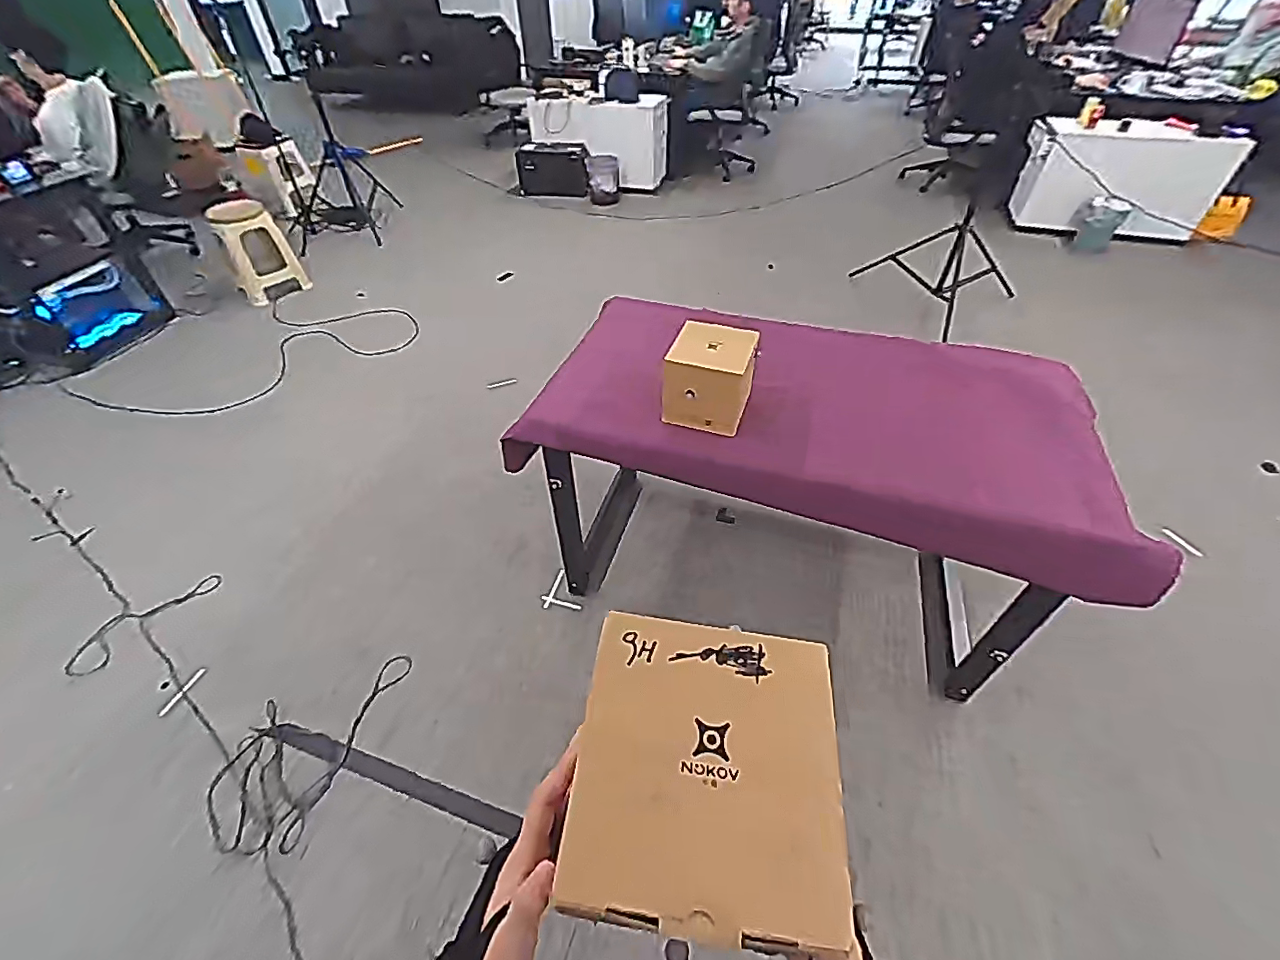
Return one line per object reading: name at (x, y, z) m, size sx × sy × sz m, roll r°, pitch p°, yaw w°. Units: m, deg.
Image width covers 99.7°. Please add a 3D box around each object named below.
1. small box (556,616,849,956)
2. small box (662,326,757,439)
small box at (0.041, 0.229, 0.410) m, size 0.168 × 0.176 × 0.179 m, roll 8°, pitch 50°, yaw 2°
small box at (0.153, -0.215, 1.199) m, size 0.168 × 0.176 × 0.179 m, roll 14°, pitch 46°, yaw 14°
